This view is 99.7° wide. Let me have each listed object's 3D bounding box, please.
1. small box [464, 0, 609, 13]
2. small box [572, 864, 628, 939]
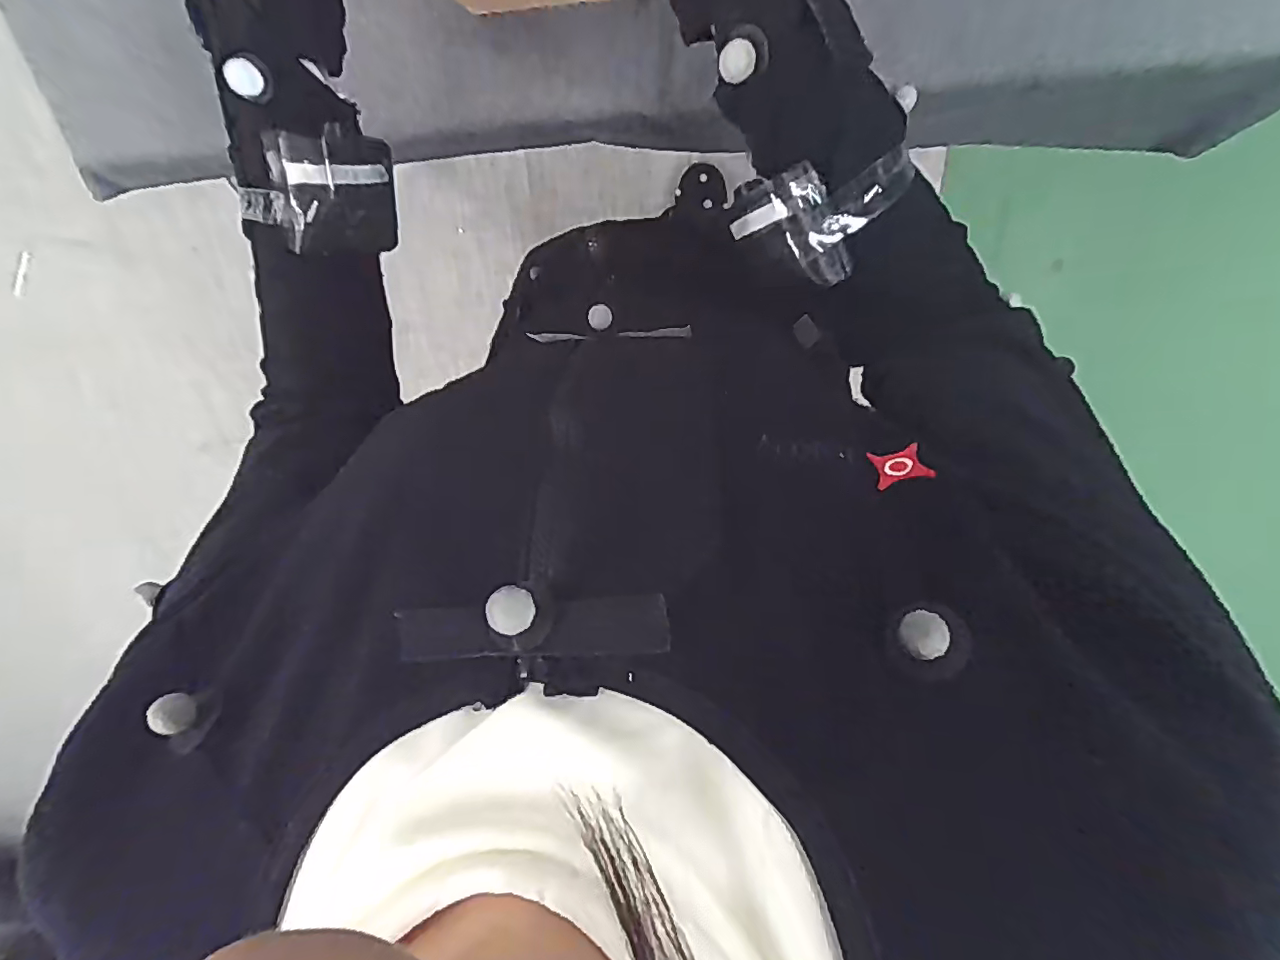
[{"bbox_3d":[-0.074,-0.457,0.374,0.179,0.176,0.168,-2,118,6],"label":"small box"},{"bbox_3d":[-0.140,1.543,1.982,0.179,0.176,0.168,-4,117,8],"label":"small box"}]
